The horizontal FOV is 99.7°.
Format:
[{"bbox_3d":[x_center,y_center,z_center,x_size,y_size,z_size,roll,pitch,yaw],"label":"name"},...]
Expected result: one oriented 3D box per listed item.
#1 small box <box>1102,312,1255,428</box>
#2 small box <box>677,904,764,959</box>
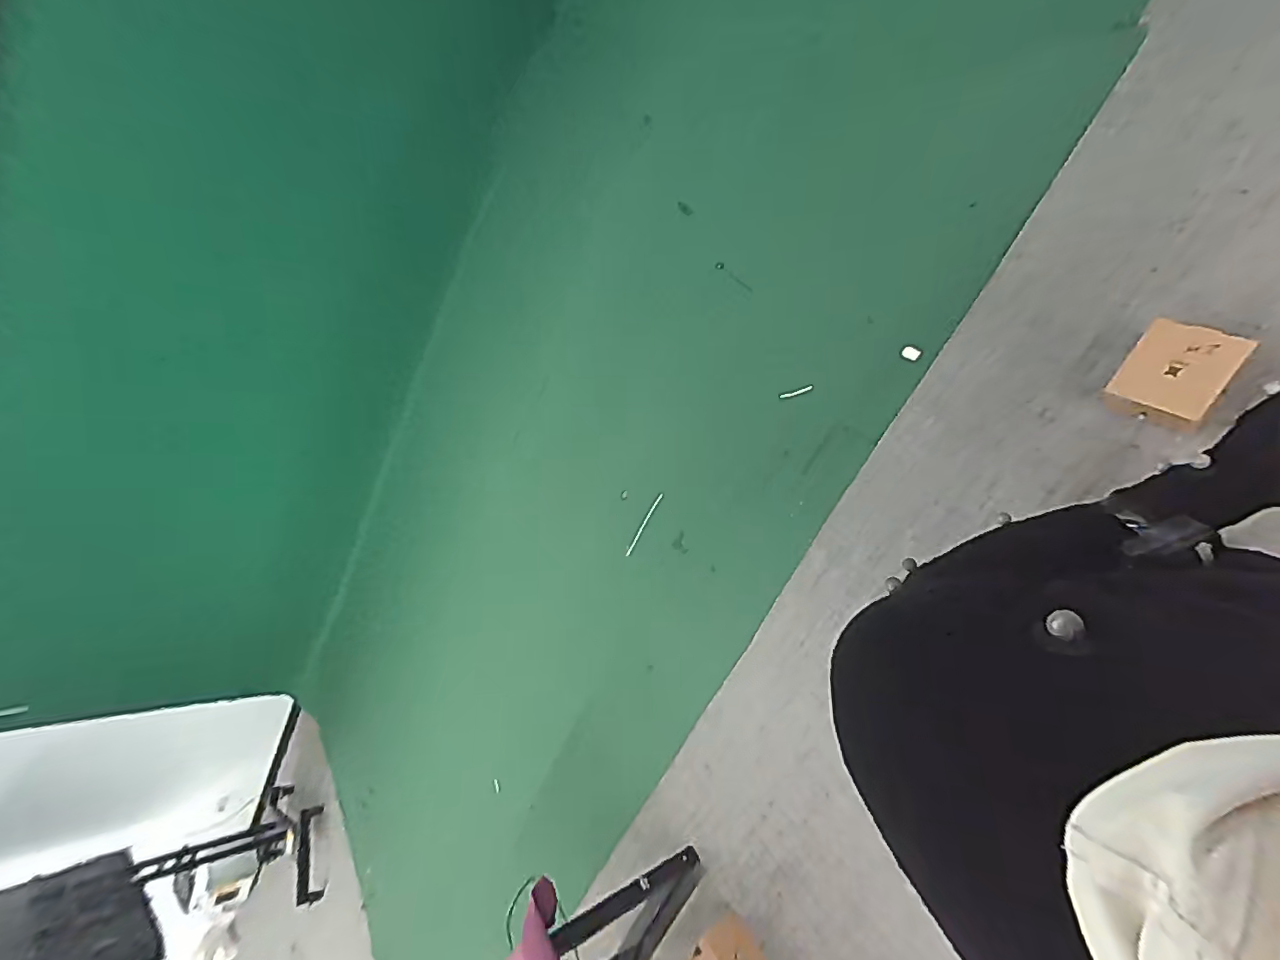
[{"bbox_3d":[1.147,-0.228,1.160,0.168,0.176,0.179,40,110,39],"label":"small box"},{"bbox_3d":[0.259,1.503,1.710,0.179,0.176,0.168,43,112,38],"label":"small box"}]
